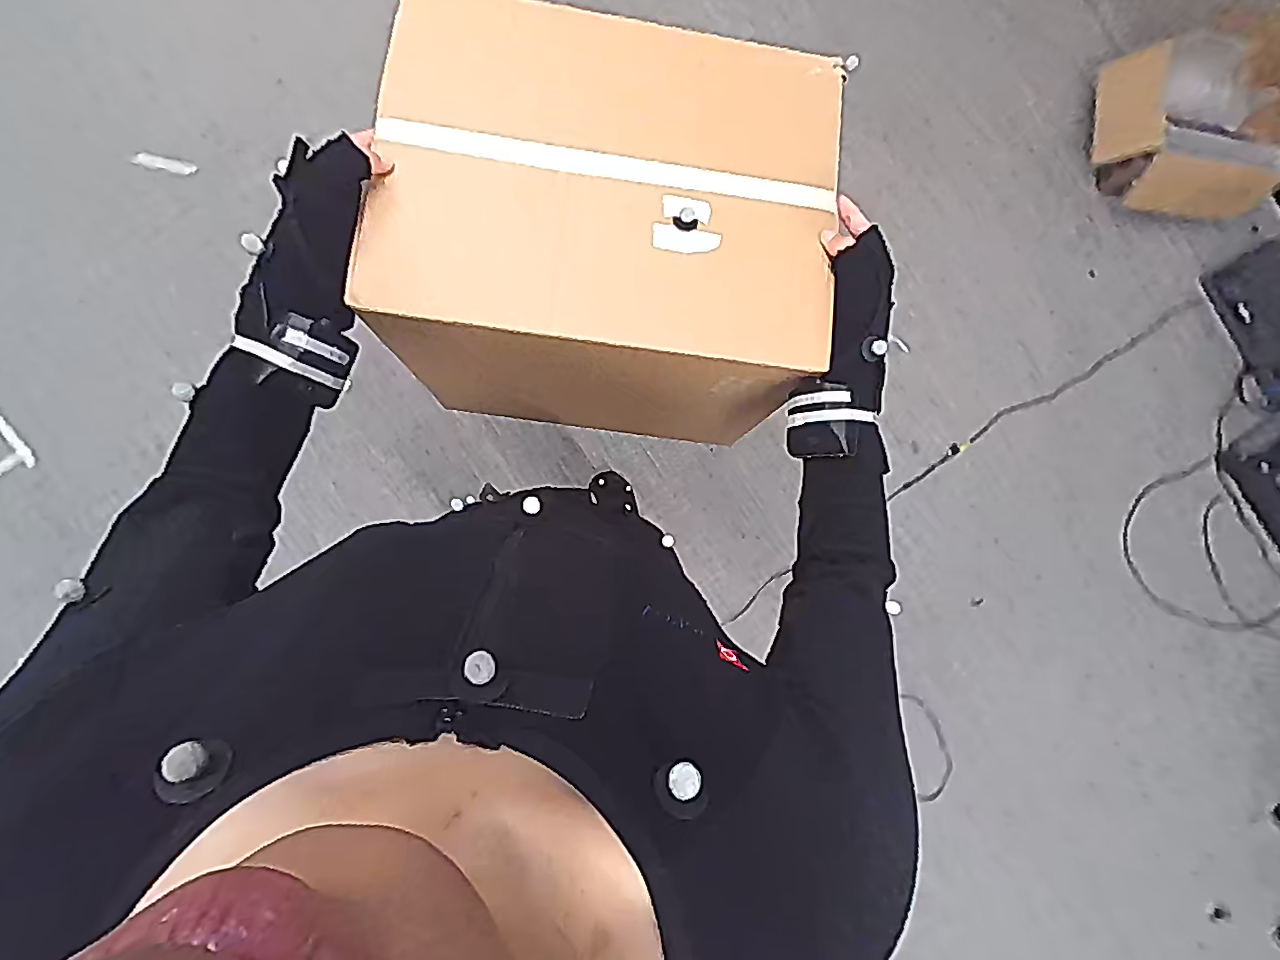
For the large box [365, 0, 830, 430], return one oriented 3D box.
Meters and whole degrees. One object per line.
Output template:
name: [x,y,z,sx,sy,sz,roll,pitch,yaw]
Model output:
large box: [-0.039,-0.258,0.633,0.408,0.320,0.320,6,82,-5]
